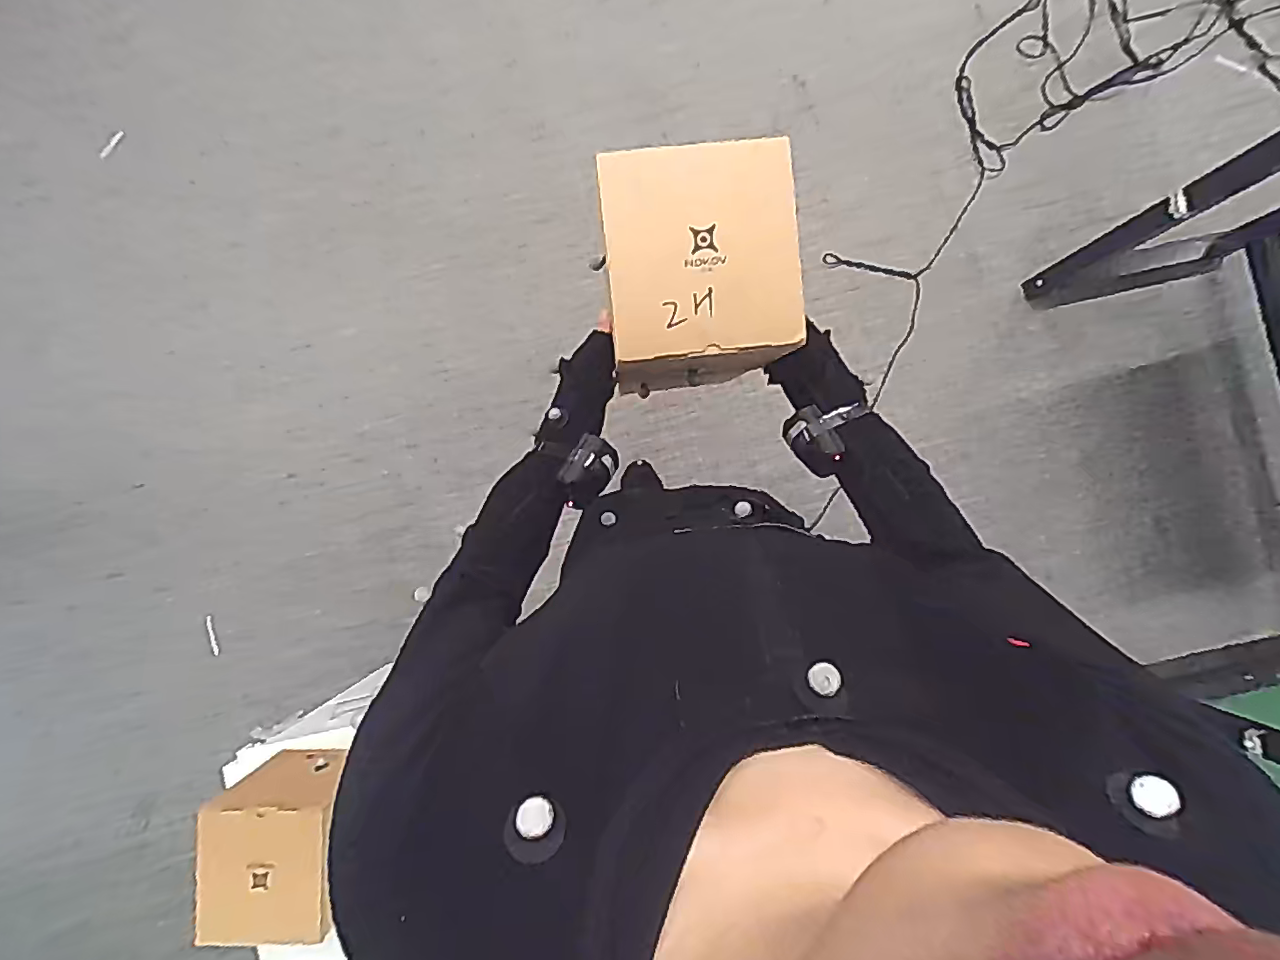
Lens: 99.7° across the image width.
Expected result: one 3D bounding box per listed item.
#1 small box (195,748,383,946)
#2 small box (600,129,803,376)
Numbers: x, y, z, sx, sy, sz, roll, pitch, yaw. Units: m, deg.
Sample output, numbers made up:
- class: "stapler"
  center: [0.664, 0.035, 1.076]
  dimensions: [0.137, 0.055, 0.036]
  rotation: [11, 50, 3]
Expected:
- class: "small box"
  center: [-0.489, 0.513, 0.777]
  dimensions: [0.168, 0.176, 0.179]
  rotation: [0, 88, 0]
- class: "small box"
  center: [0.048, -0.207, 0.535]
  dimensions: [0.168, 0.176, 0.179]
  rotation: [-6, 94, -2]
